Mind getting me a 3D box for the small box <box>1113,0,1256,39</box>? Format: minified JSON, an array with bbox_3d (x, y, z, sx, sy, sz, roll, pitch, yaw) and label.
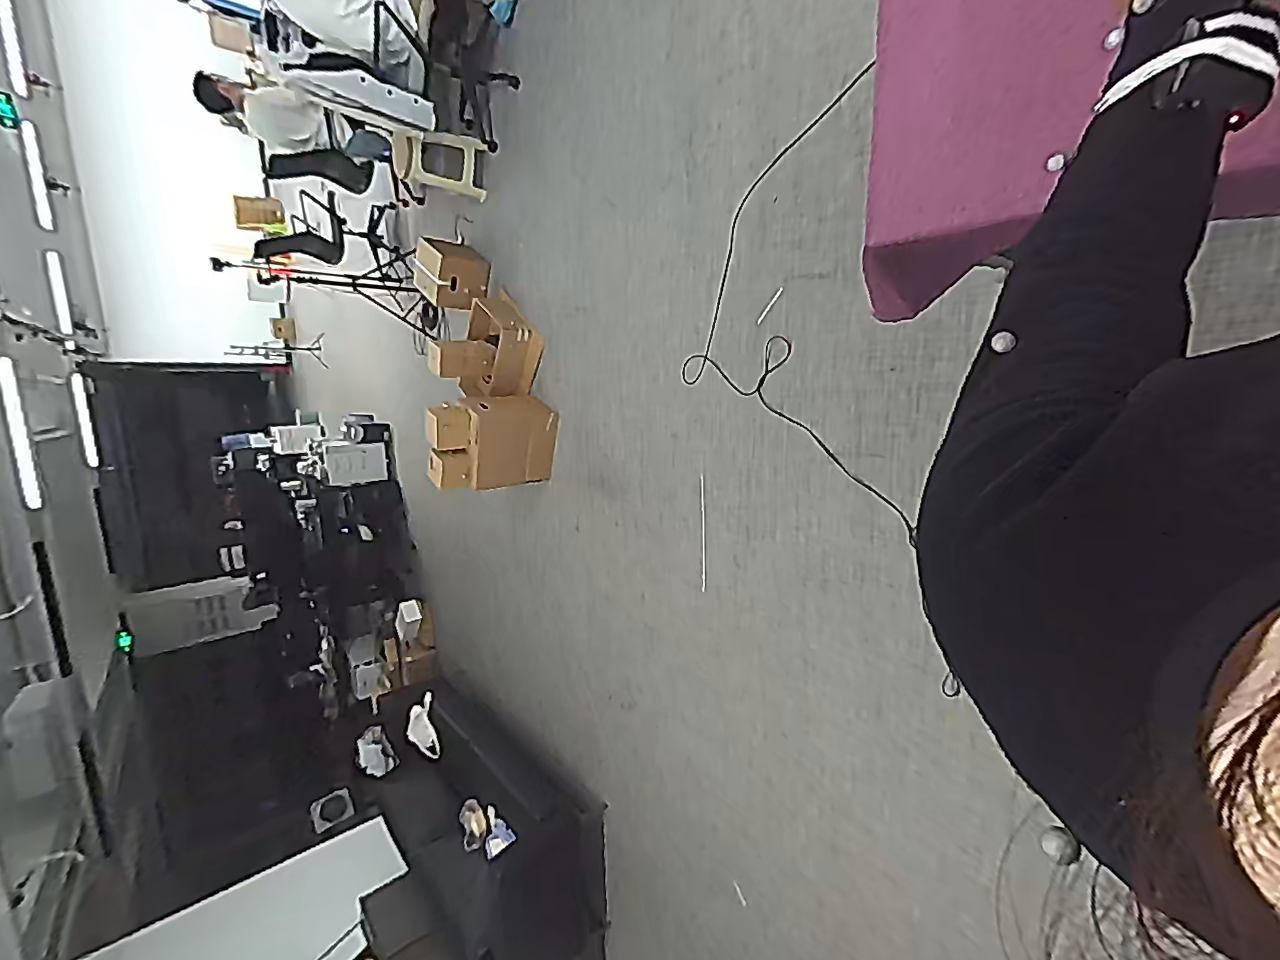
[{"bbox_3d":[0.518,-0.537,0.461,0.168,0.176,0.179,13,107,49],"label":"small box"}]
